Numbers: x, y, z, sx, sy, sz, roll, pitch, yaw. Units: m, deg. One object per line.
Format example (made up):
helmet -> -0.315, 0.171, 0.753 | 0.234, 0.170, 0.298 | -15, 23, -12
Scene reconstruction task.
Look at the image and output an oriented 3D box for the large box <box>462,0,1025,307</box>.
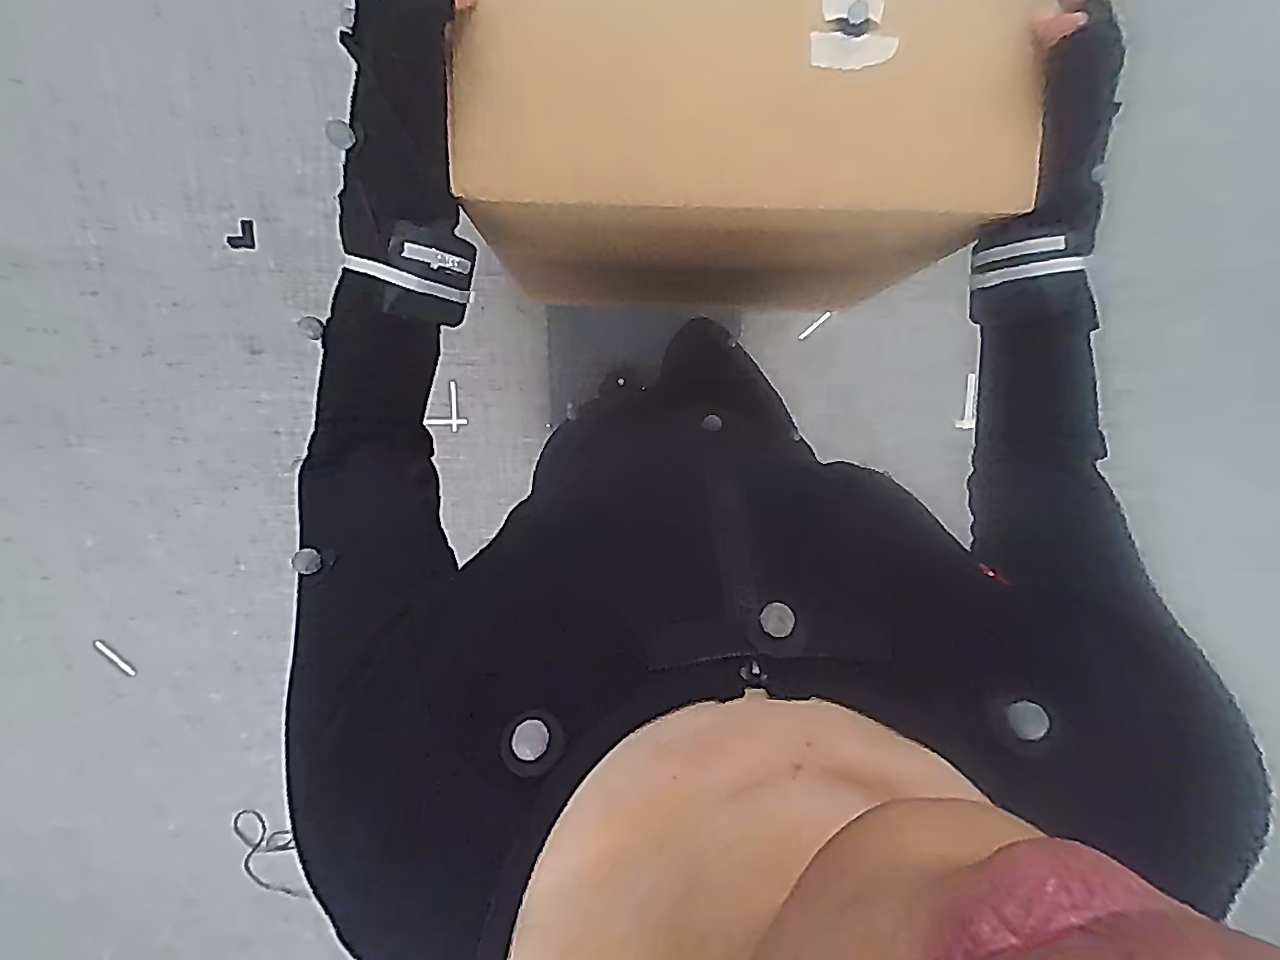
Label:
large box -> 0.067, -0.363, 0.525 | 0.408, 0.320, 0.320 | 0, 95, -2
